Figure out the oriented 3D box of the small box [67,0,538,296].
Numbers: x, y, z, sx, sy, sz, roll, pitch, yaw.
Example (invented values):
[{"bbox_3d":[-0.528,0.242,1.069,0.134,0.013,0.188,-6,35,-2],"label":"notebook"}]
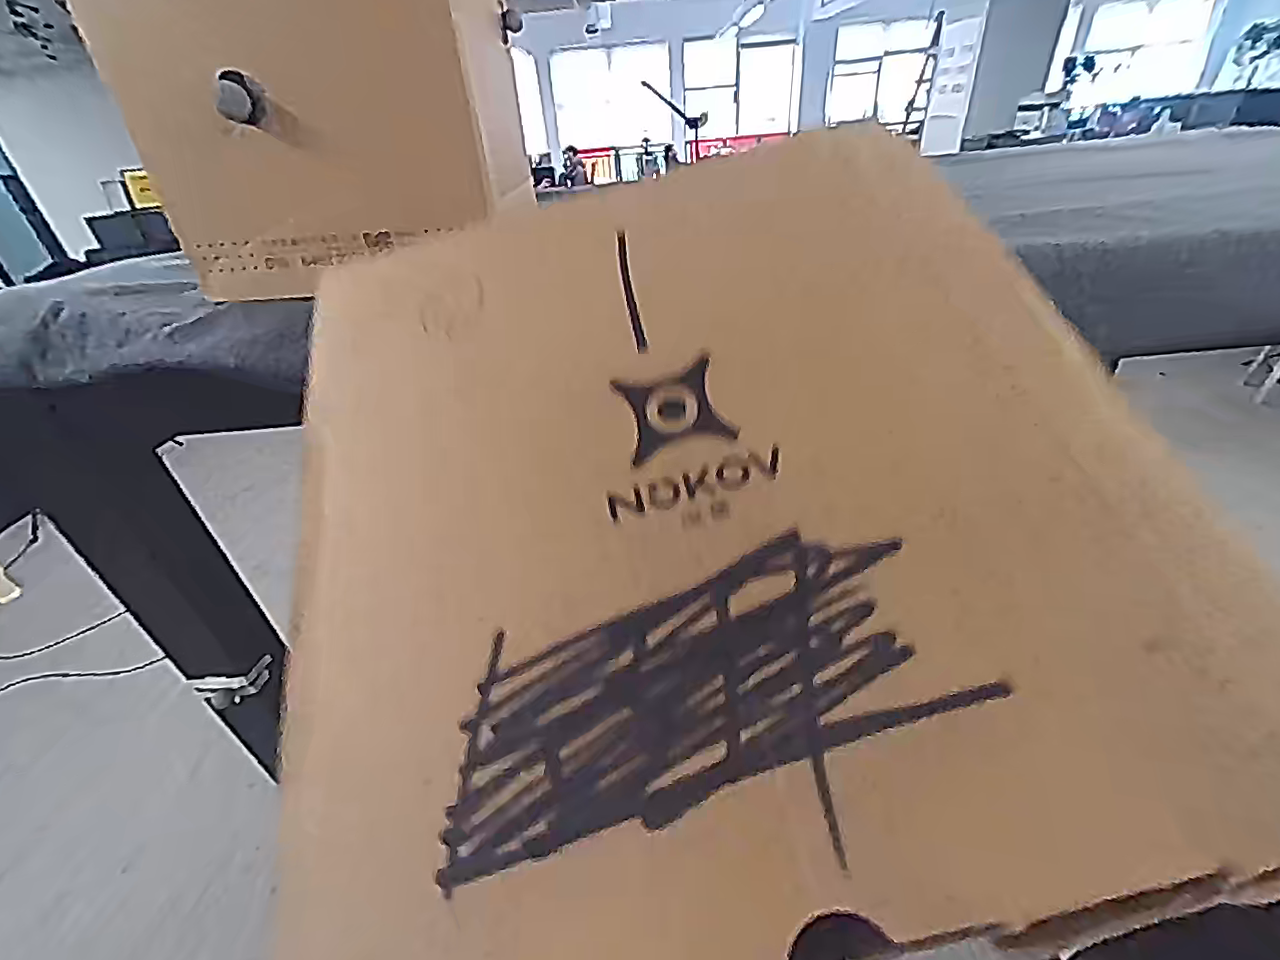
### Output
[{"bbox_3d":[-0.163,-0.213,0.328,0.168,0.176,0.179,-4,31,0],"label":"small box"}]
